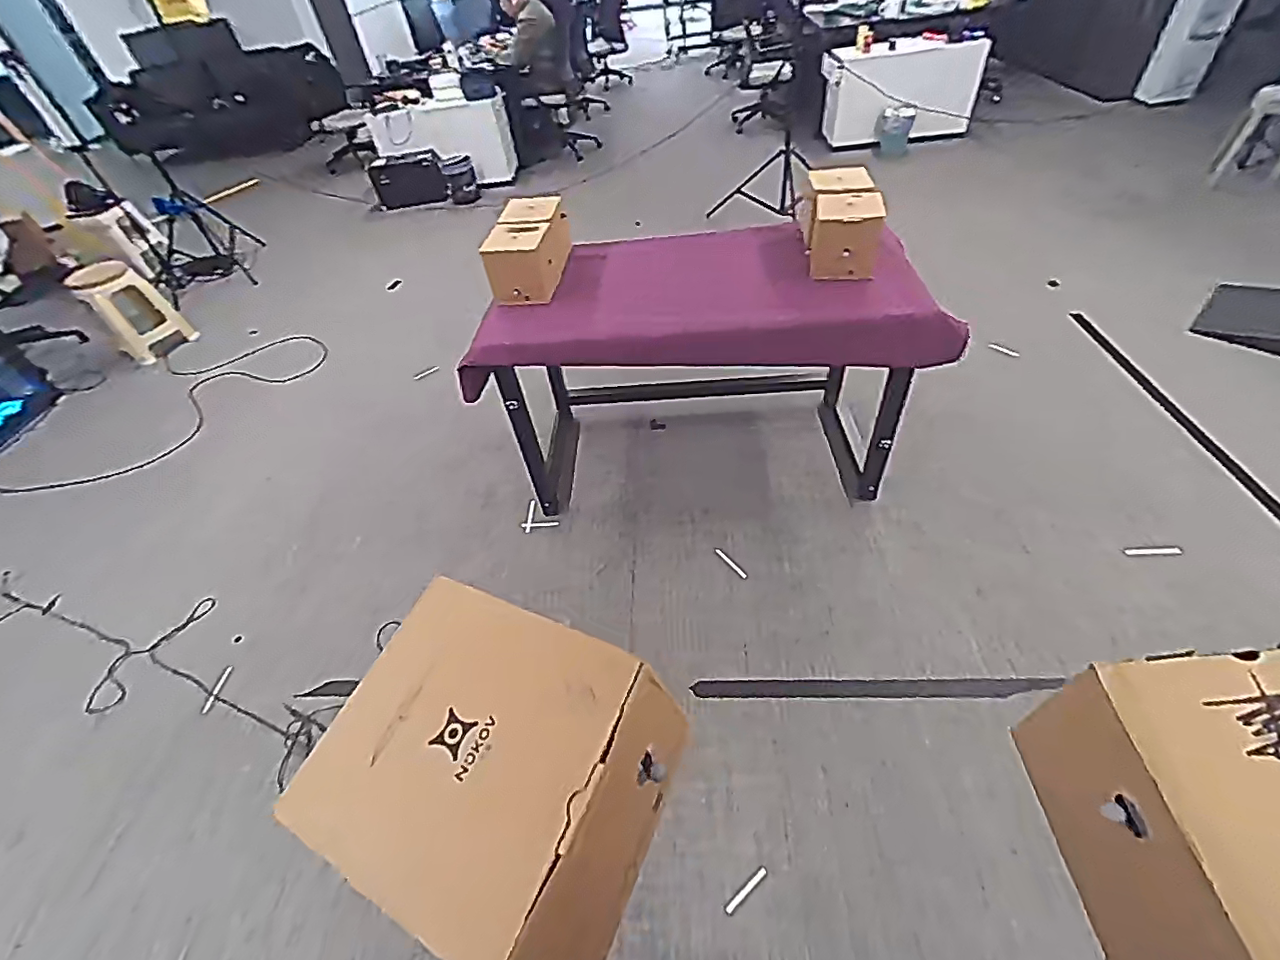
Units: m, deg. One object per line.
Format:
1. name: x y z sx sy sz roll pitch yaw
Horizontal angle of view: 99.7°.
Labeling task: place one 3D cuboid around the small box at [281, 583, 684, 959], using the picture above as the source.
1. small box: -0.084 0.202 0.379 0.179 0.176 0.168 13 57 26

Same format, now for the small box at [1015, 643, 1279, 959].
1. small box: 0.372 0.218 0.331 0.168 0.176 0.179 -10 51 9

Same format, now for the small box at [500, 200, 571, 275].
1. small box: -0.323 -0.771 1.721 0.168 0.176 0.179 0 48 8

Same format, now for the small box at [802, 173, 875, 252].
1. small box: 0.590 -0.806 1.633 0.168 0.176 0.179 1 46 8
